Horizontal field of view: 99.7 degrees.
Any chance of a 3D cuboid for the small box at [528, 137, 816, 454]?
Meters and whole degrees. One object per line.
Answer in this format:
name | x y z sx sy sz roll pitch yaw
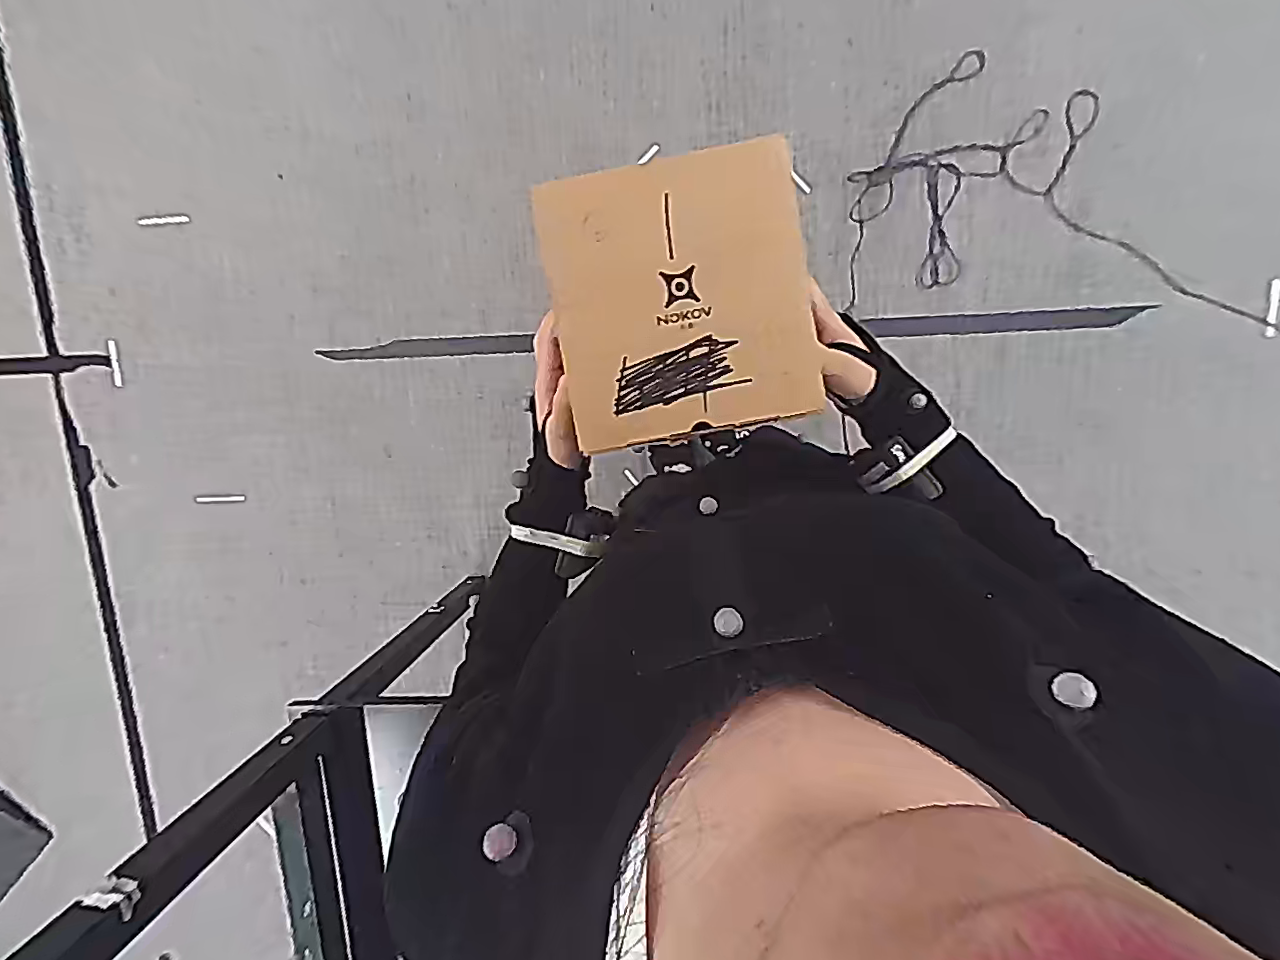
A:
small box | 0.025 -0.125 0.427 0.168 0.176 0.179 -10 97 3
